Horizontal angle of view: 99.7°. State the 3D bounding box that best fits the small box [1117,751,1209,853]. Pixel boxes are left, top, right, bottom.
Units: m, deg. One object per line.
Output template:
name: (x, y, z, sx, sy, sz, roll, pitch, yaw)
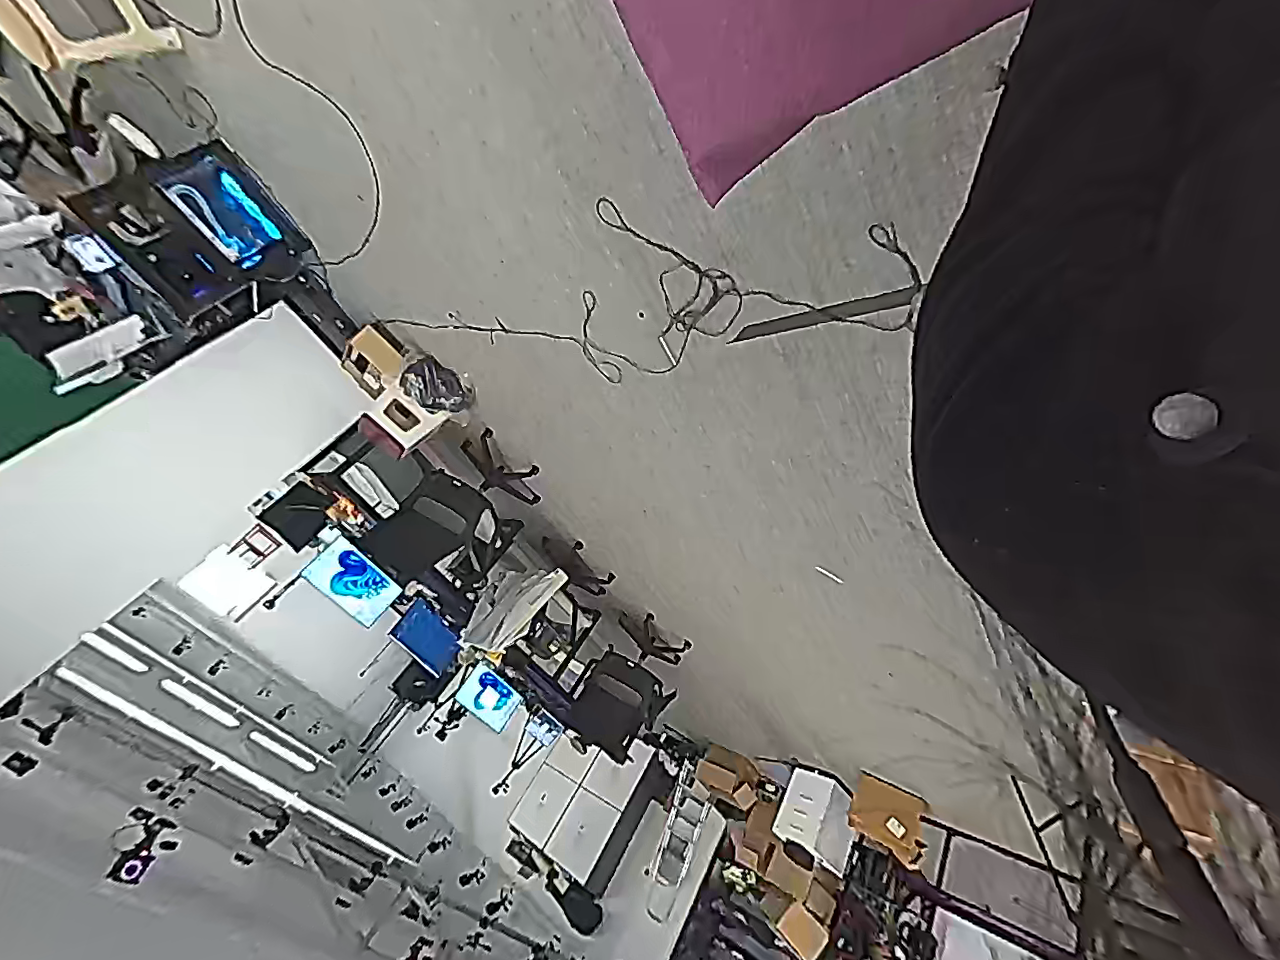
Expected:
small box: (1.464, 0.895, 1.519, 0.179, 0.176, 0.168, 2, 137, 42)
